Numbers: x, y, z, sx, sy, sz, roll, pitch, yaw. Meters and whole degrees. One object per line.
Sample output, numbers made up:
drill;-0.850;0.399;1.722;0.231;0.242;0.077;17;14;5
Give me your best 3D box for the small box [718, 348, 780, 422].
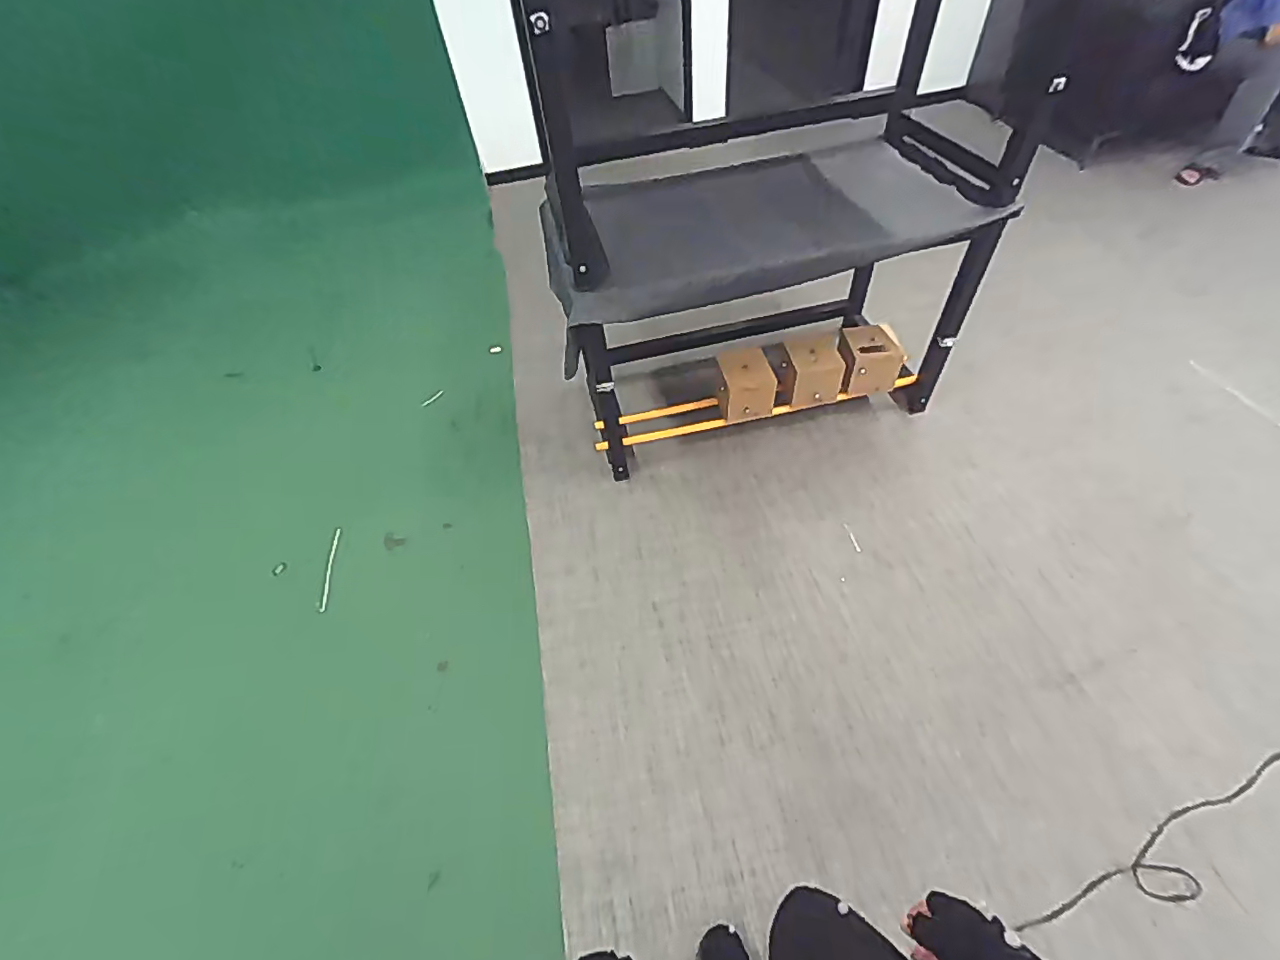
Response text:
small box;0.371;-0.330;1.882;0.168;0.176;0.179;-11;53;-3
